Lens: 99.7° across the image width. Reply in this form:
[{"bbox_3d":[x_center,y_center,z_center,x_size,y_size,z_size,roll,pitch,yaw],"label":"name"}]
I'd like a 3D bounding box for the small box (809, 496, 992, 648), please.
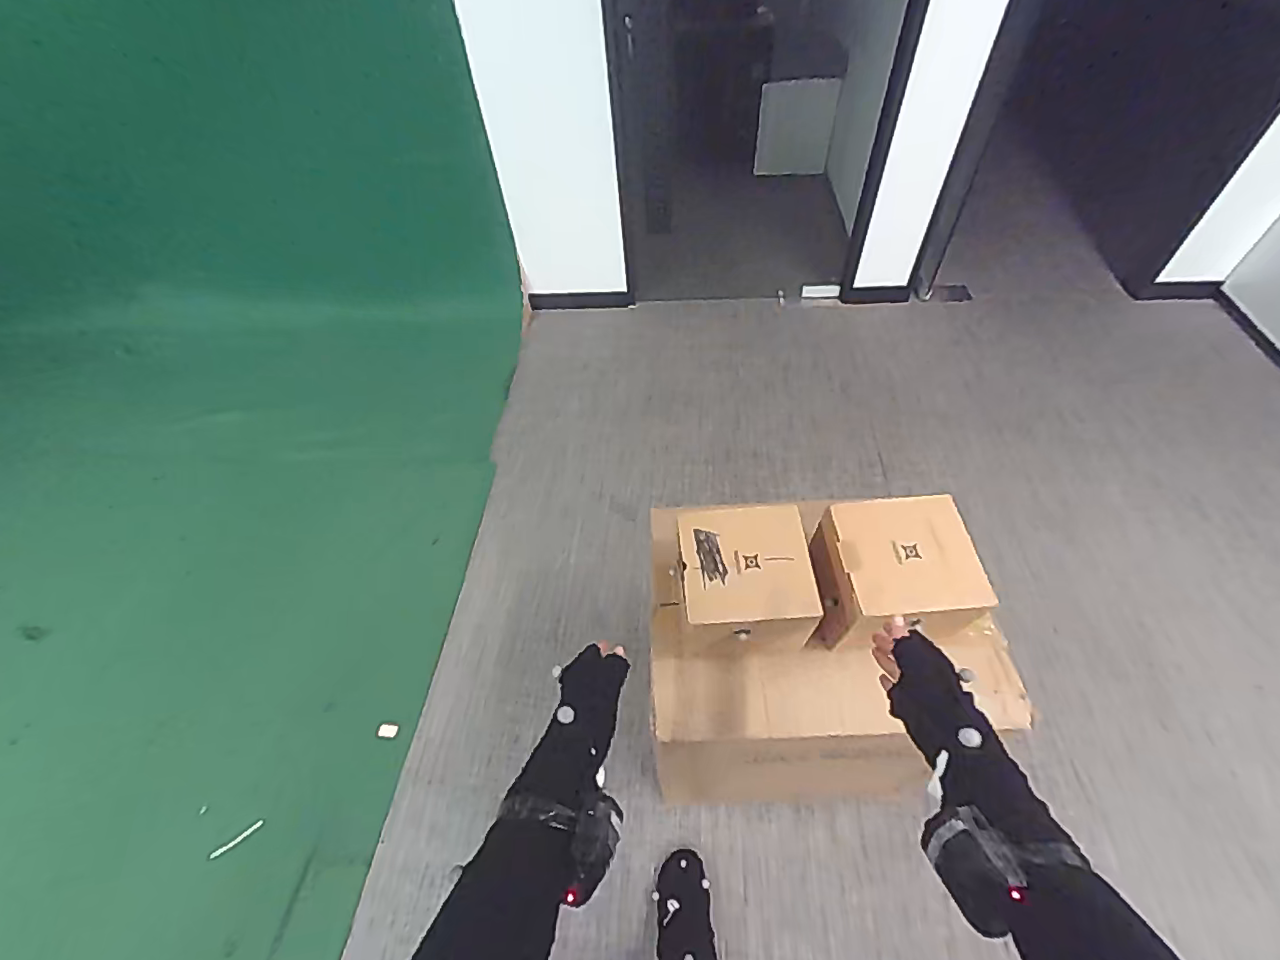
[{"bbox_3d":[0.360,0.141,0.794,0.179,0.176,0.168,-5,58,-1],"label":"small box"}]

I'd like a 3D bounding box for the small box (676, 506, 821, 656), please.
[{"bbox_3d":[0.147,0.154,0.798,0.179,0.176,0.168,-4,57,1],"label":"small box"}]
